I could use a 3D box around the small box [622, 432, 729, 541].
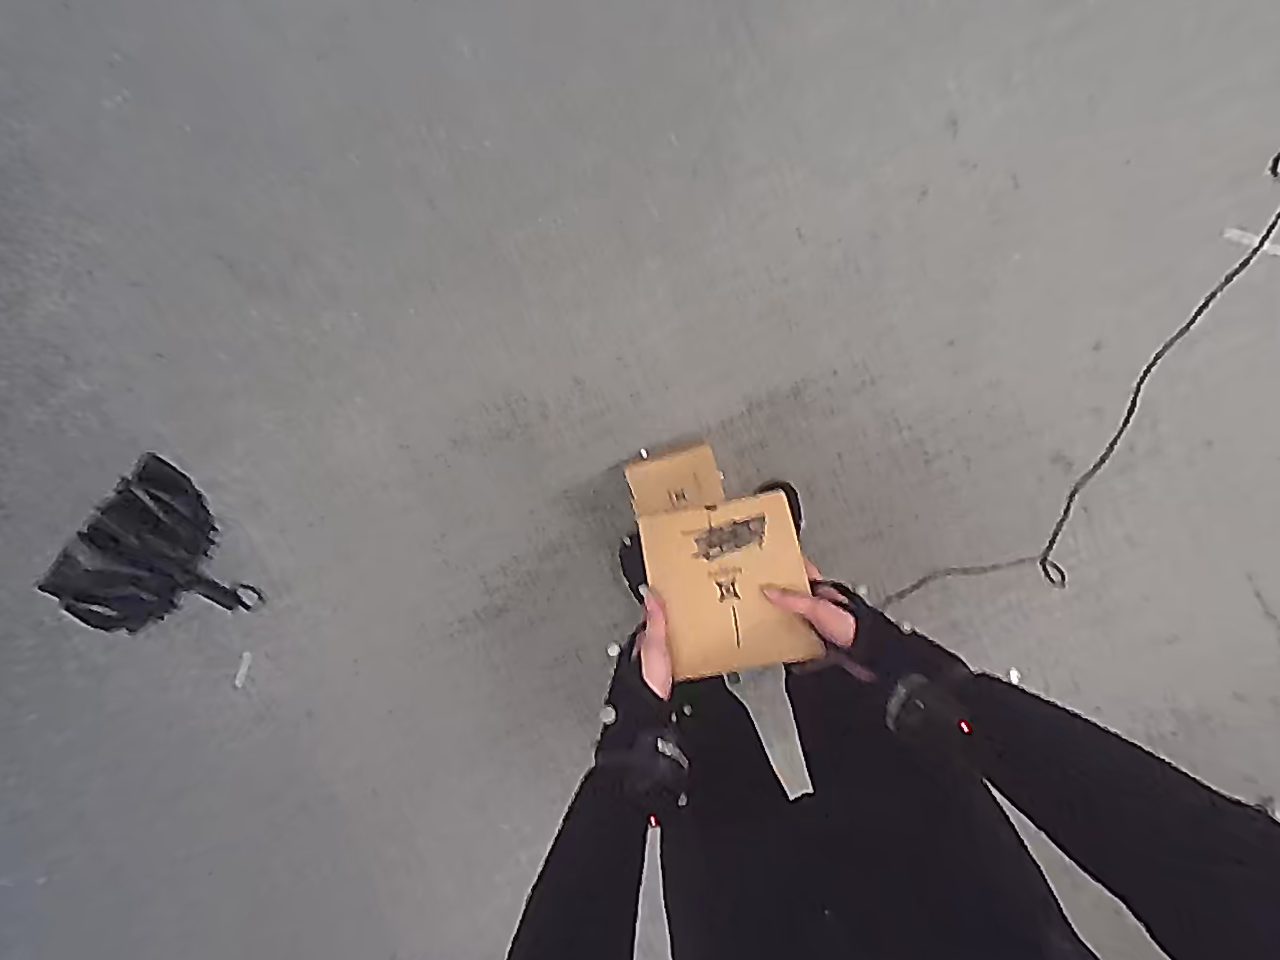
[{"bbox_3d":[0.071,0.008,1.130,0.179,0.176,0.168,-17,102,4],"label":"small box"}]
